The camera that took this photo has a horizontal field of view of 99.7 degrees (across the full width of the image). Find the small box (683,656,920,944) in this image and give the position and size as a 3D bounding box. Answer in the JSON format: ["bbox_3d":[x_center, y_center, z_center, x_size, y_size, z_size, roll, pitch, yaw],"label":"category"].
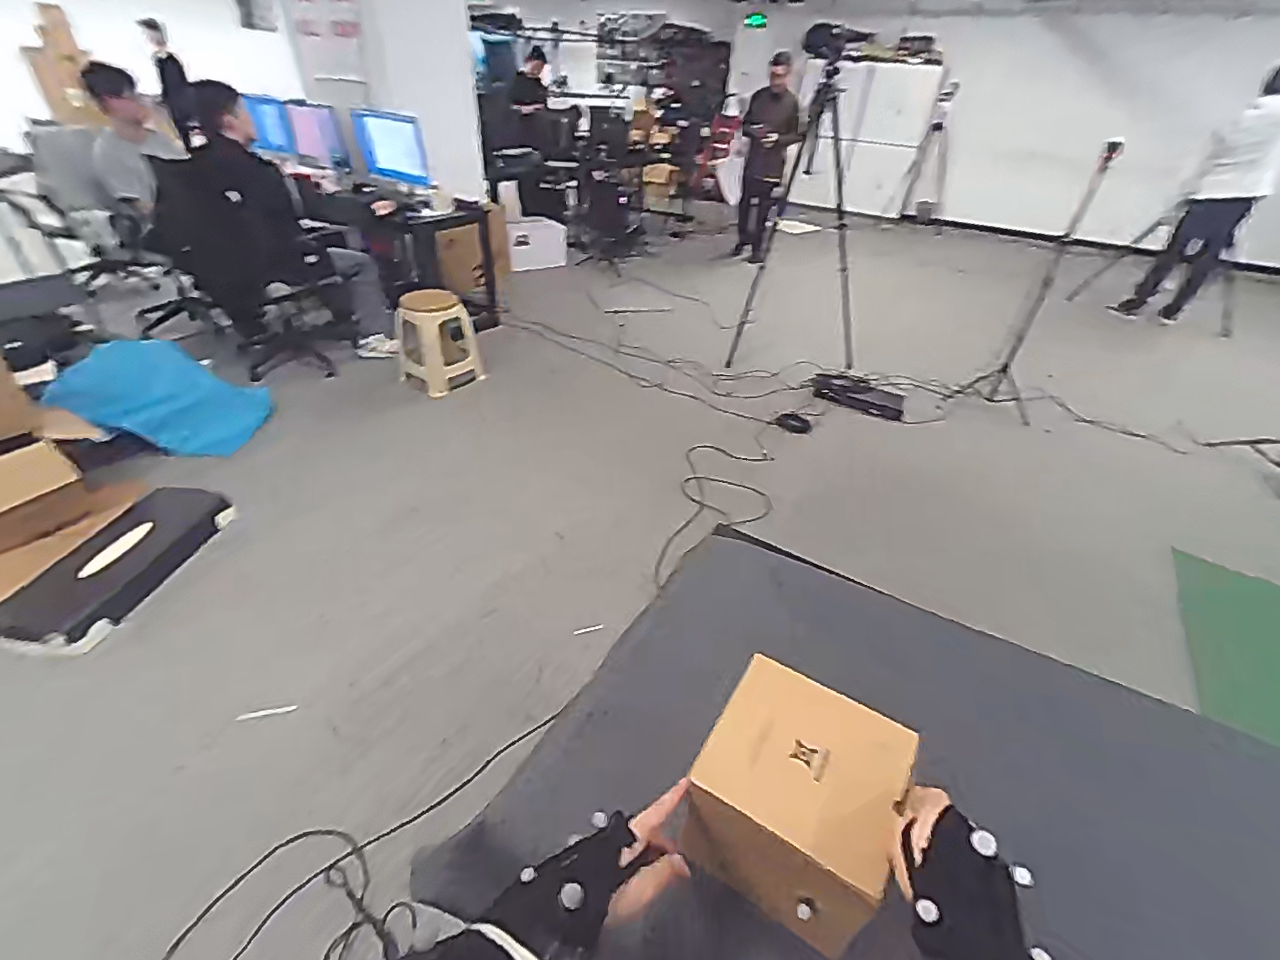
[{"bbox_3d":[0.158,0.326,0.557,0.179,0.176,0.168,20,39,26],"label":"small box"}]
